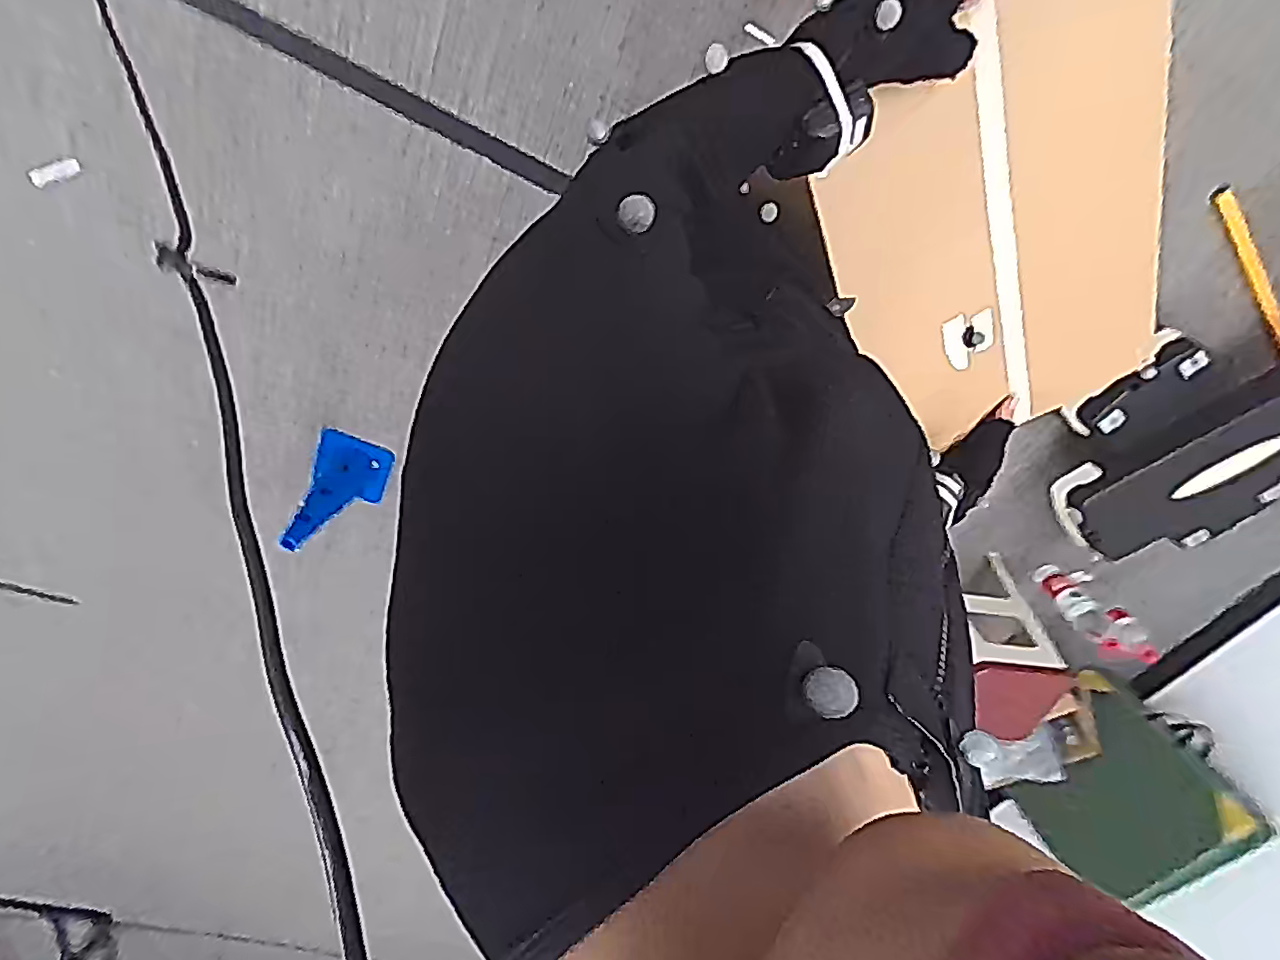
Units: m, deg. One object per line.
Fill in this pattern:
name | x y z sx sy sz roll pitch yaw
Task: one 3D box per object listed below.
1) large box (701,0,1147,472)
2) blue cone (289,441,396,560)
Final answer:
large box | 0.316 -0.295 0.653 0.320 0.320 0.408 -26 120 6
blue cone | -0.815 0.070 1.434 0.193 0.380 0.192 23 119 -15
